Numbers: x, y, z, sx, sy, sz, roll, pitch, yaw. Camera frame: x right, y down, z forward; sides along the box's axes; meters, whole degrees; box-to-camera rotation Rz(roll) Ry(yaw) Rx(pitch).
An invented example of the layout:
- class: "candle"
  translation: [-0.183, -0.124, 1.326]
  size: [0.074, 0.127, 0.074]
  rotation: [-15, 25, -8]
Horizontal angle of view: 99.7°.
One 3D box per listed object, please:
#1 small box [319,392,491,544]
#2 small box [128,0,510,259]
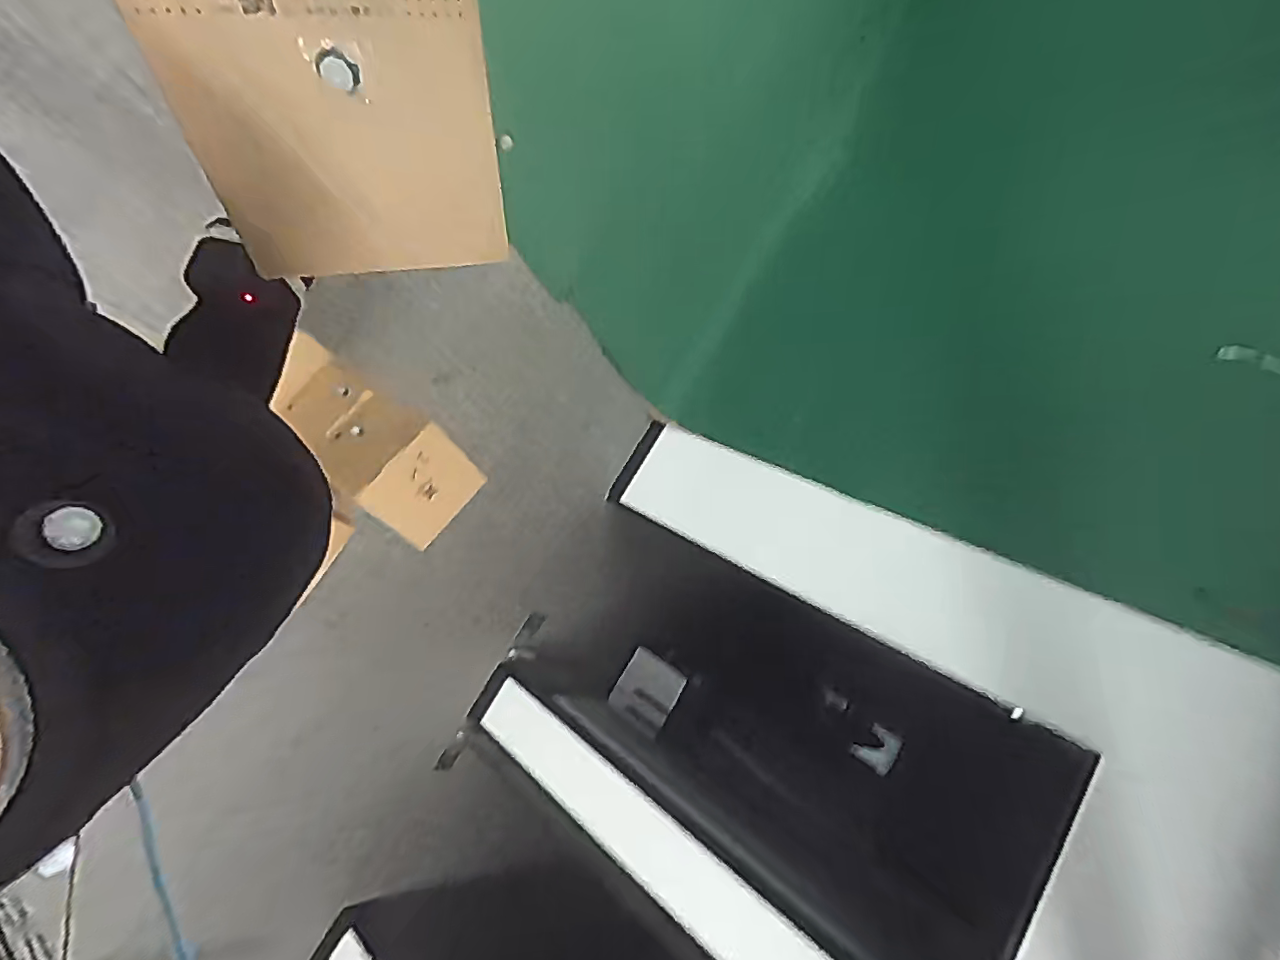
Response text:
- class: "small box"
  translation: [-0.403, -0.024, 0.936]
  size: [0.168, 0.176, 0.179]
  rotation: [-51, 146, -17]
- class: "small box"
  translation: [-0.183, -0.271, 0.353]
  size: [0.168, 0.179, 0.176]
  rotation: [-7, 143, -10]
